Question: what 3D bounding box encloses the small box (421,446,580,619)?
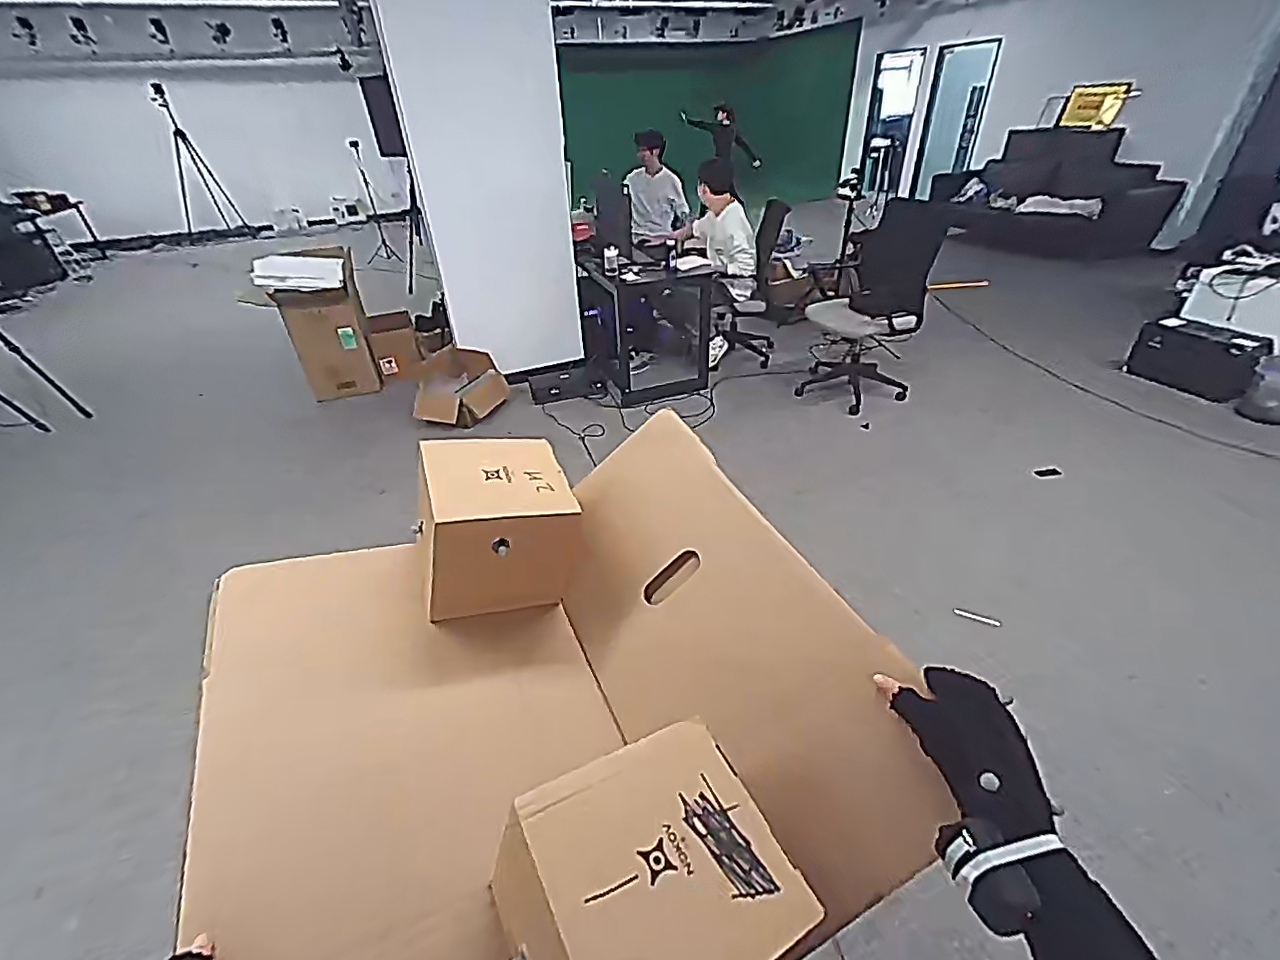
[{"bbox_3d":[-0.199,0.069,0.735,0.179,0.176,0.168,-2,38,-27],"label":"small box"}]
